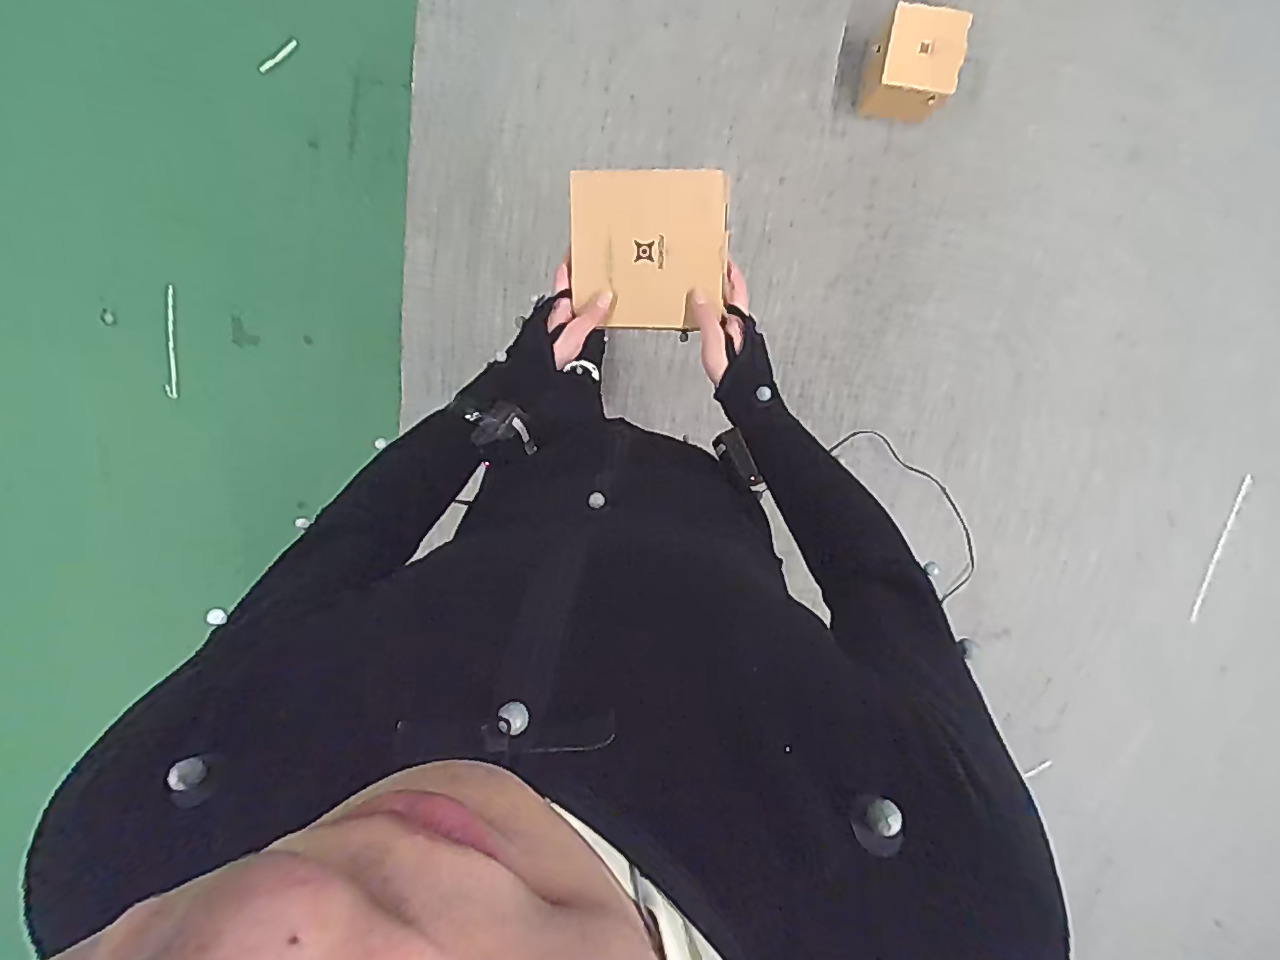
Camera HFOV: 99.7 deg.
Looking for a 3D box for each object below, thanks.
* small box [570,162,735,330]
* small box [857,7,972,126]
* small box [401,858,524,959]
[{"bbox_3d":[0.015,-0.275,0.668,0.179,0.176,0.168,3,104,3],"label":"small box"},{"bbox_3d":[0.646,-0.982,1.299,0.179,0.176,0.168,7,103,-2],"label":"small box"},{"bbox_3d":[-0.318,0.826,0.976,0.179,0.176,0.168,12,104,-4],"label":"small box"}]
